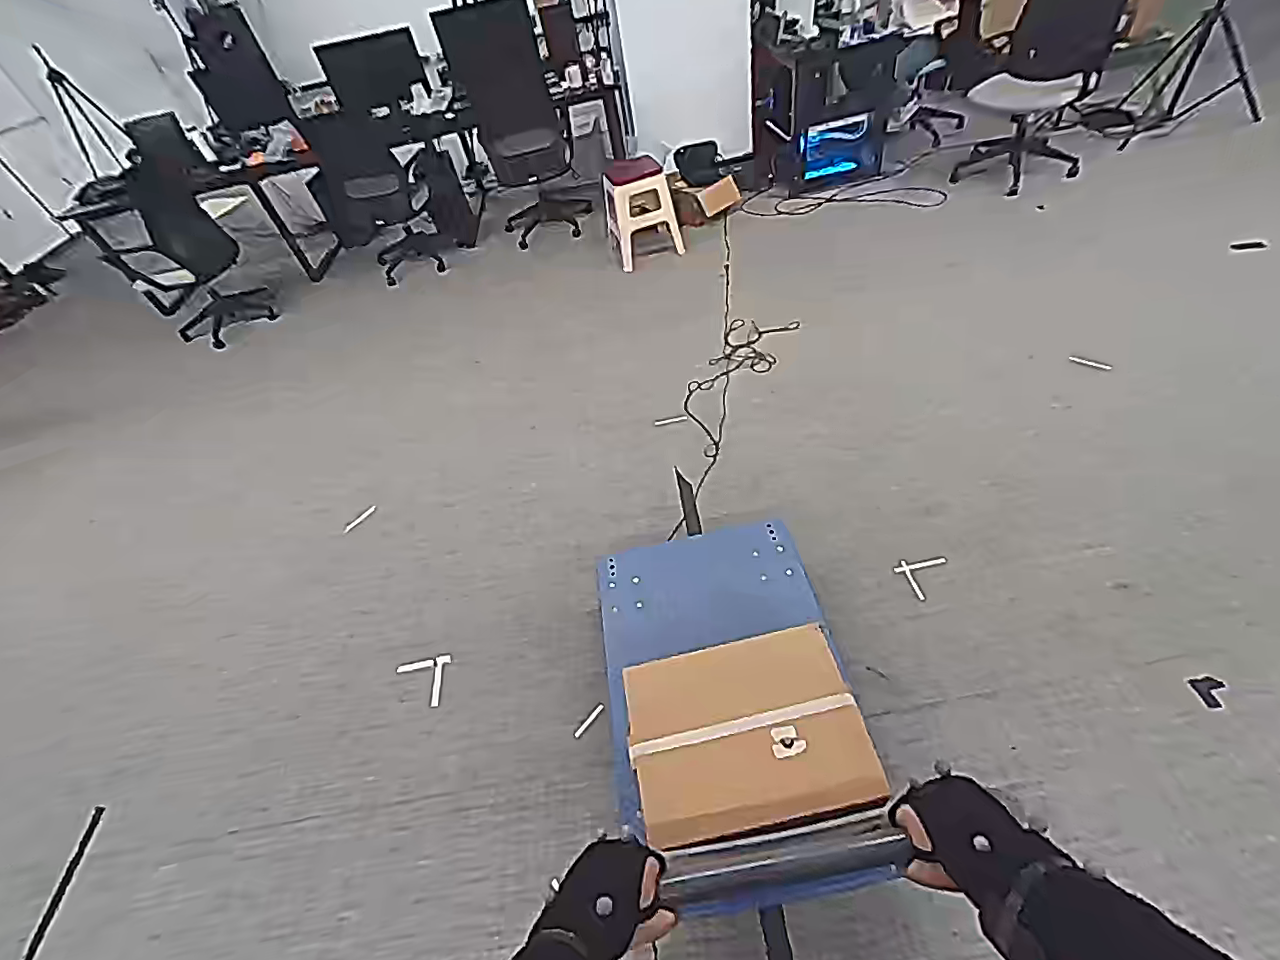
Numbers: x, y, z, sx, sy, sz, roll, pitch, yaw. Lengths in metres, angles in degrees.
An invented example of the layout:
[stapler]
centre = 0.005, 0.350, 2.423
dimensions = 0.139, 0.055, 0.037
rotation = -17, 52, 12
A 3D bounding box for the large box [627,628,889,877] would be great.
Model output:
[large box]
centre = 0.214, 0.552, 1.090
dimensions = 0.408, 0.320, 0.320
rotation = -14, 48, 0
